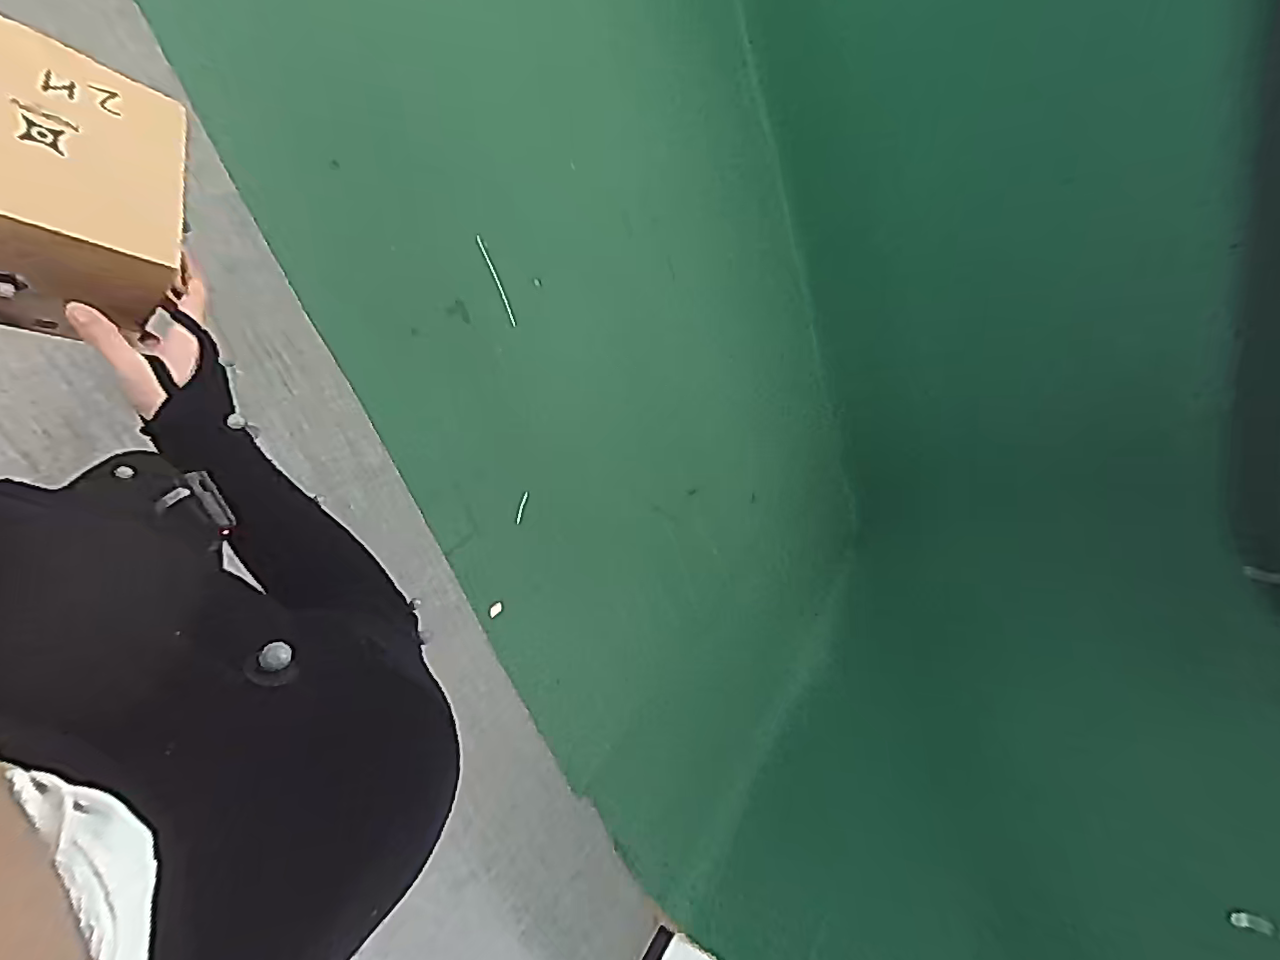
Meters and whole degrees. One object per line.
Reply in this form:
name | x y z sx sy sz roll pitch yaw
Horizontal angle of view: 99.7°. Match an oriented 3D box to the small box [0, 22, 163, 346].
small box | -0.516 -0.234 0.434 0.168 0.176 0.179 9 65 -54
